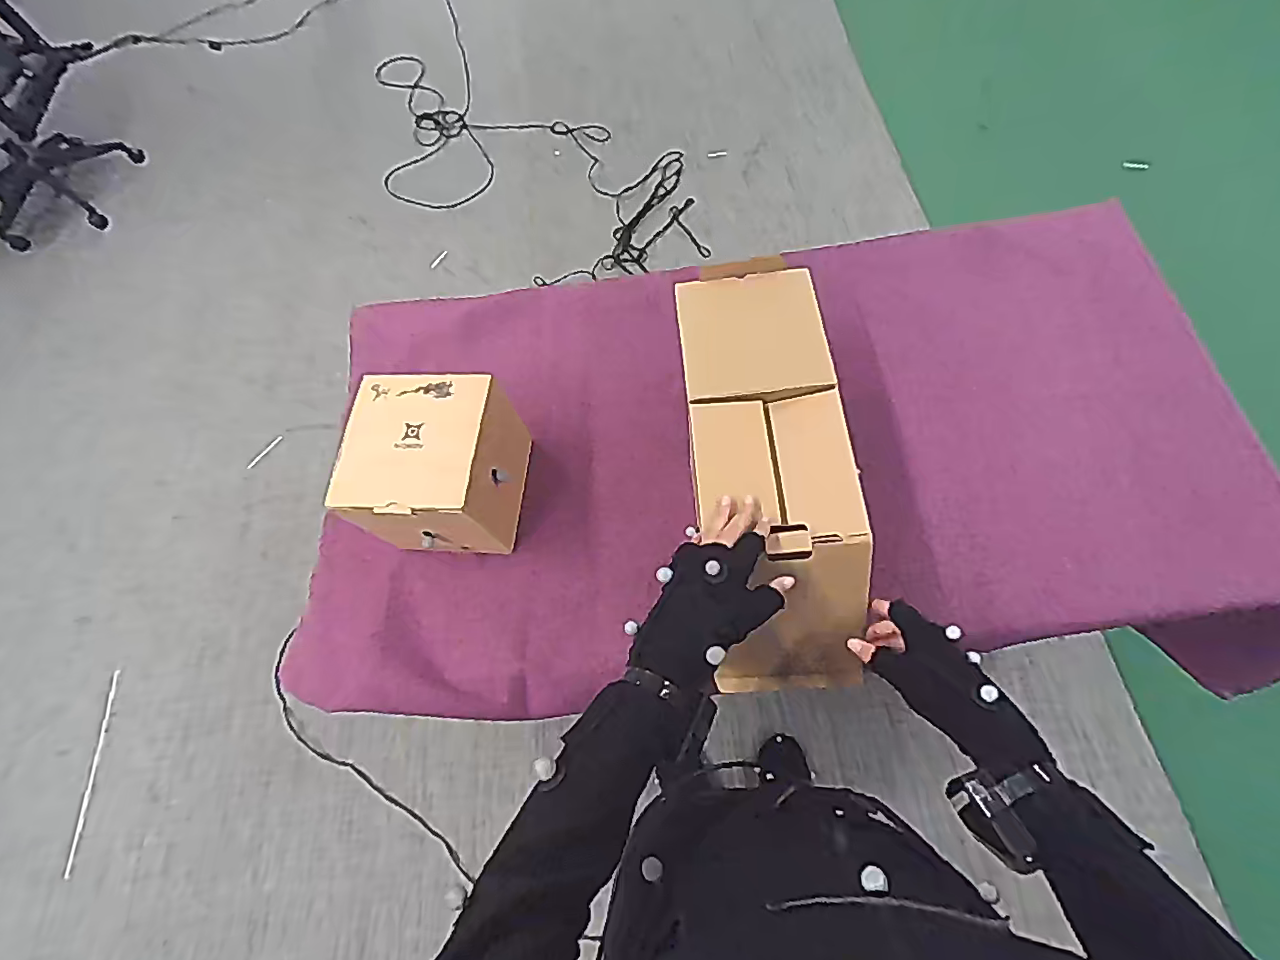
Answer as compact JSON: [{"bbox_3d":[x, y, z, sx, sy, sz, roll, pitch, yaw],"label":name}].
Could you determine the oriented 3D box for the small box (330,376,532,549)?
[{"bbox_3d":[-0.249,-0.015,0.693,0.168,0.176,0.179,1,68,8],"label":"small box"}]
